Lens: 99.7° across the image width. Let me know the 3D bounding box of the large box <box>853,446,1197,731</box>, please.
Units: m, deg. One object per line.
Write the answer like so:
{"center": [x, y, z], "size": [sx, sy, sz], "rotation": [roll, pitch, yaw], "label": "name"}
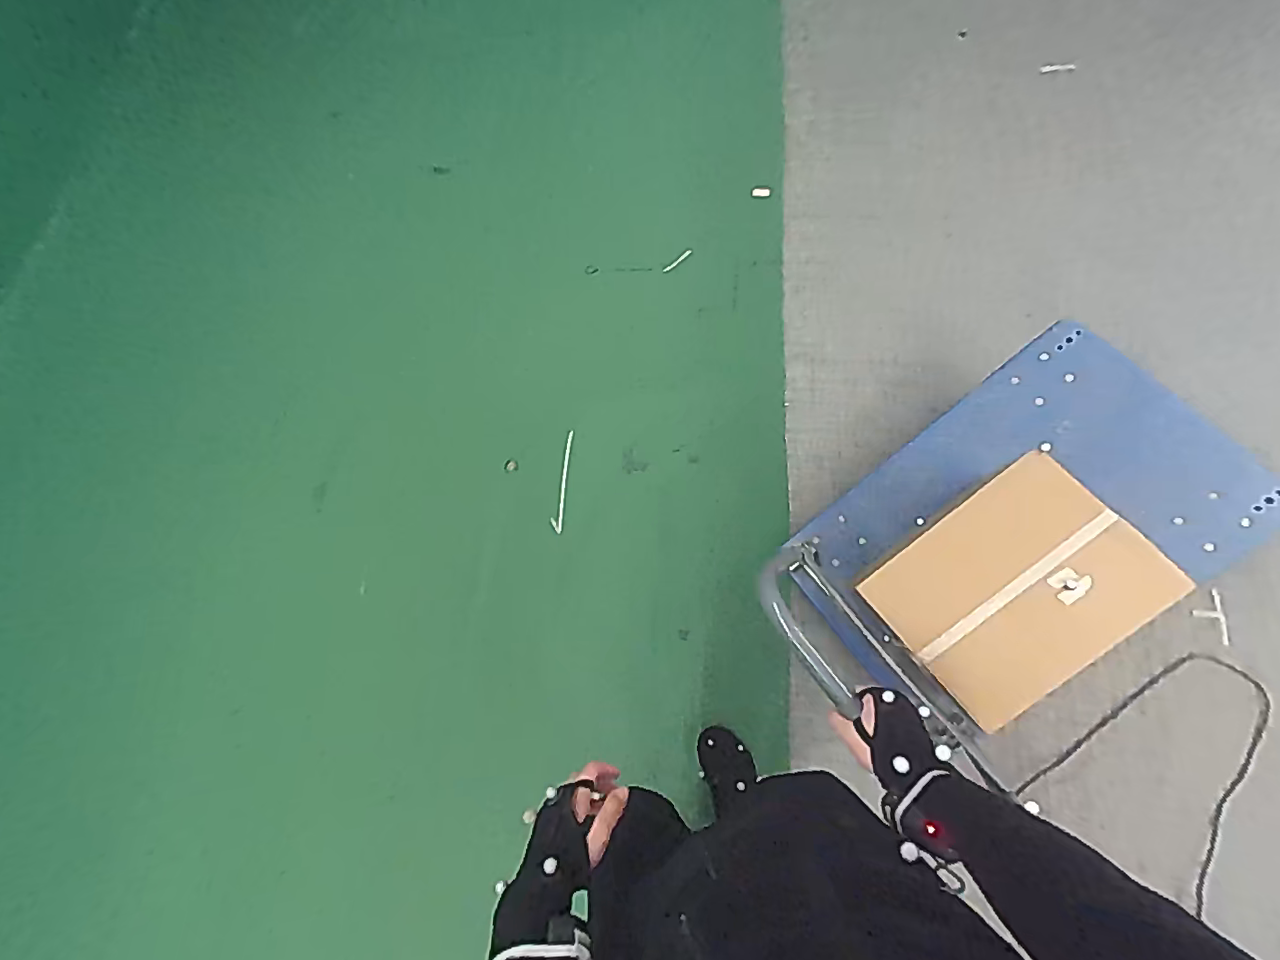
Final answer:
{"center": [0.688, 0.208, 1.061], "size": [0.408, 0.320, 0.320], "rotation": [-41, 72, 6], "label": "large box"}
